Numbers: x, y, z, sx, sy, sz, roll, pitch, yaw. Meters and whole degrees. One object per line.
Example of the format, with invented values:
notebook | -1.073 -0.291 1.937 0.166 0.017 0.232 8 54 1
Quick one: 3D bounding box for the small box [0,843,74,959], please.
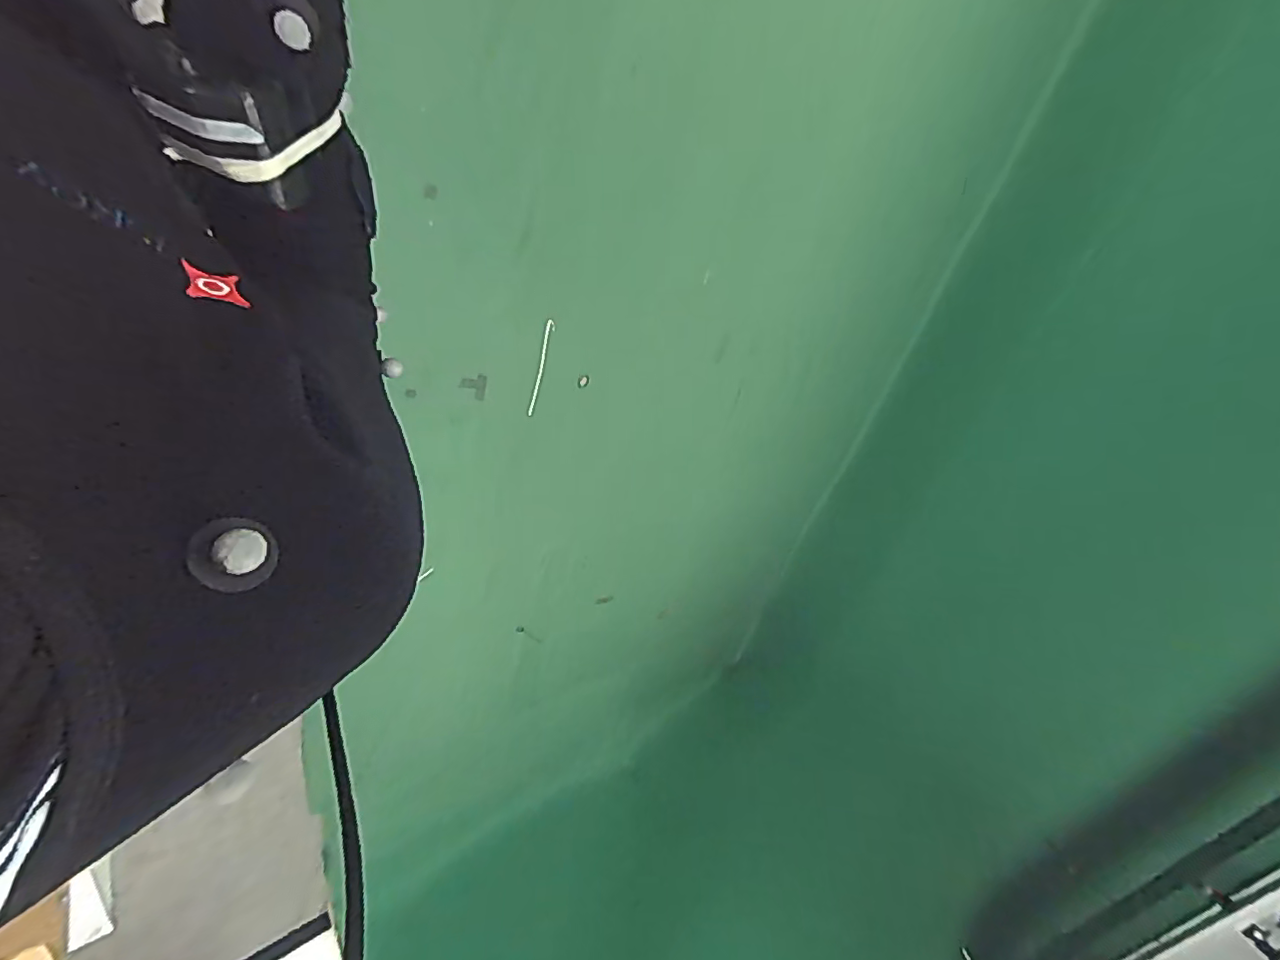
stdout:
small box | -0.939 0.663 0.770 0.168 0.176 0.179 -6 129 -40
